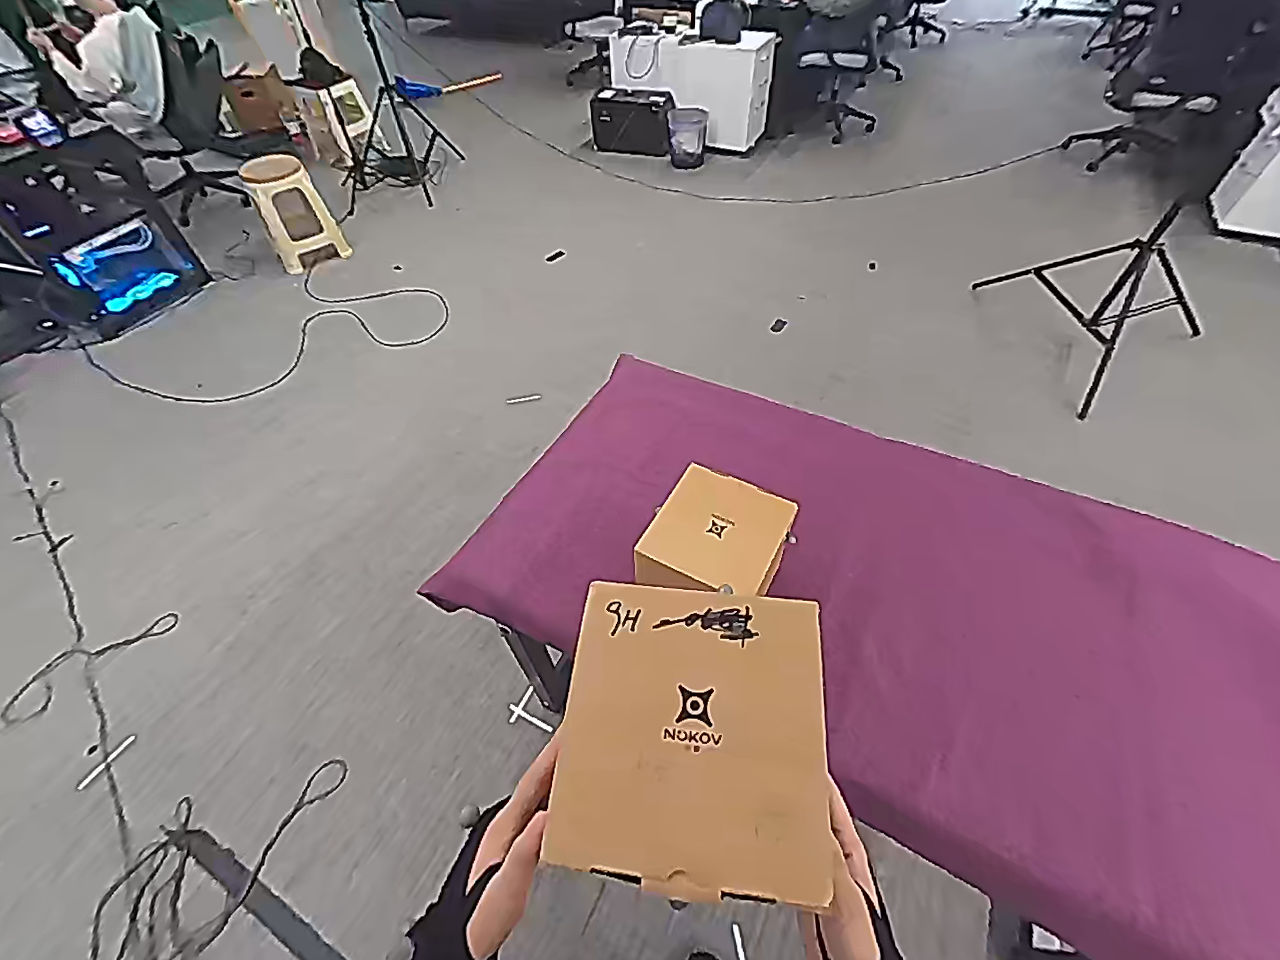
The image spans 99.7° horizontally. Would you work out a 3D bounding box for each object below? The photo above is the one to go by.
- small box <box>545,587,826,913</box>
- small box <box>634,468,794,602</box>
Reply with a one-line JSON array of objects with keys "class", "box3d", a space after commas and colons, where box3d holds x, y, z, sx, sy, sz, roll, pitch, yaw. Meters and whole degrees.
[{"class": "small box", "box3d": [0.040, 0.201, 0.418, 0.168, 0.176, 0.179, 4, 58, 7]}, {"class": "small box", "box3d": [0.106, 0.120, 0.790, 0.168, 0.176, 0.179, 23, 54, 19]}]
